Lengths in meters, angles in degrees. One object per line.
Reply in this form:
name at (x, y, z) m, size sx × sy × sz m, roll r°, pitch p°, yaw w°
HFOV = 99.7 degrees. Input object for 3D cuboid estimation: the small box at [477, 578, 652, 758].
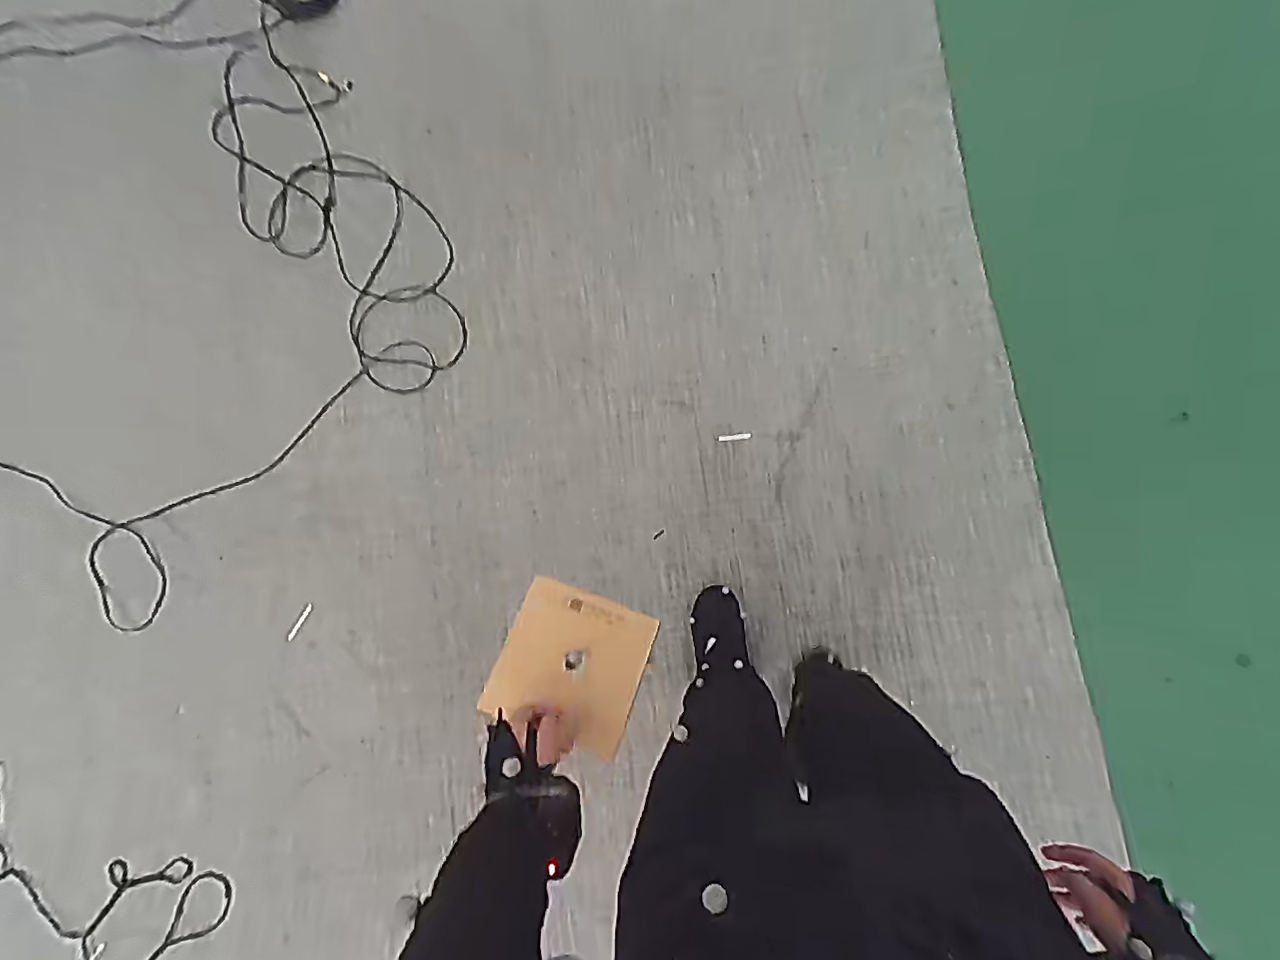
small box at (-0.093, 0.240, 0.710) m, size 0.168 × 0.179 × 0.176 m, roll 21°, pitch 68°, yaw 1°
